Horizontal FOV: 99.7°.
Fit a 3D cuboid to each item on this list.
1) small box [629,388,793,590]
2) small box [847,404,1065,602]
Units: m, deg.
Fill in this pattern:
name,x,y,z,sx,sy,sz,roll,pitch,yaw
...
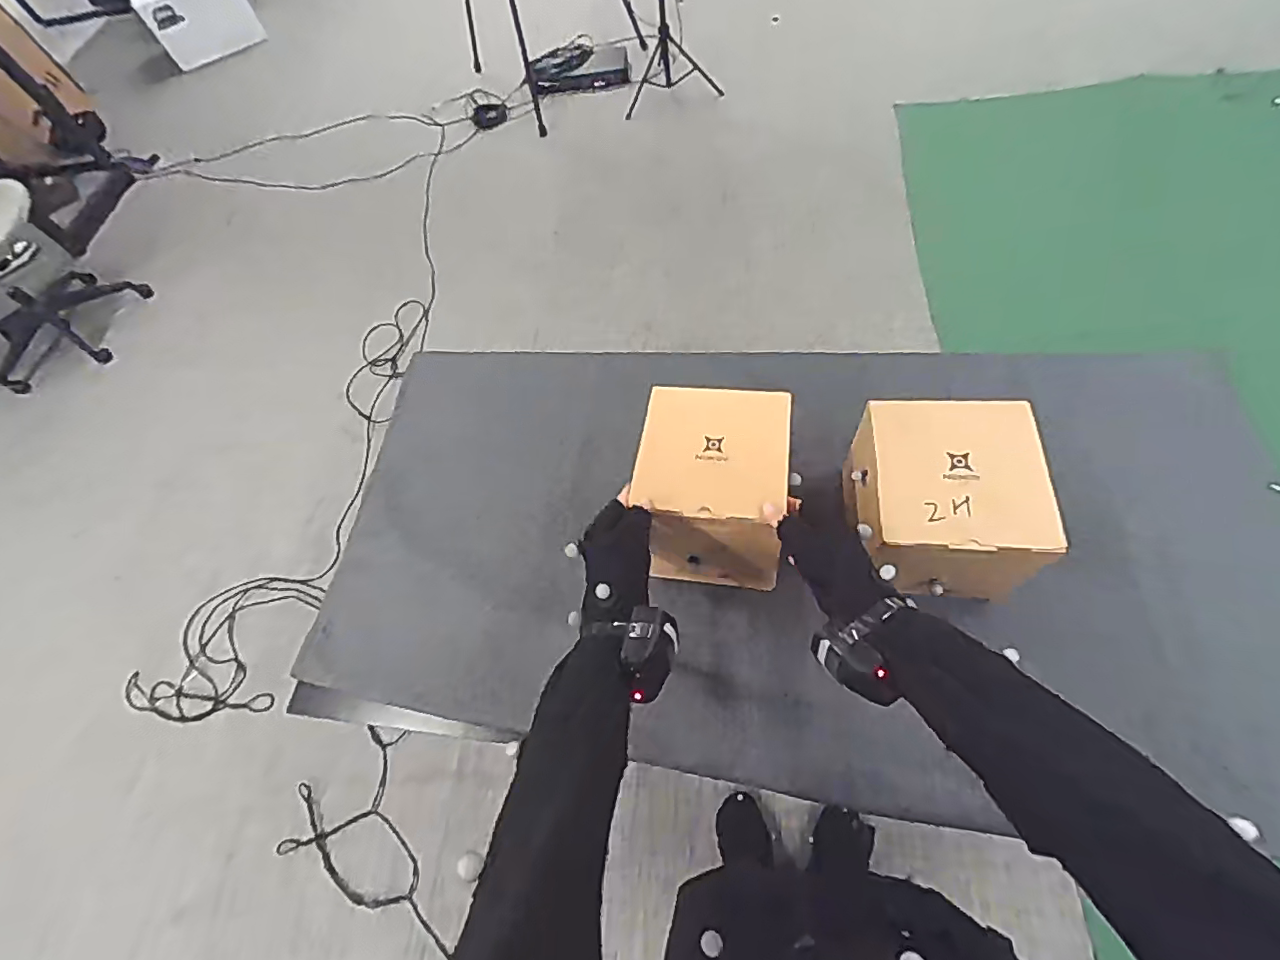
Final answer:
name,x,y,z,sx,sy,sz,roll,pitch,yaw
small box,0.090,0.013,0.659,0.168,0.176,0.179,5,56,11
small box,0.343,0.030,0.631,0.168,0.176,0.179,1,63,12
